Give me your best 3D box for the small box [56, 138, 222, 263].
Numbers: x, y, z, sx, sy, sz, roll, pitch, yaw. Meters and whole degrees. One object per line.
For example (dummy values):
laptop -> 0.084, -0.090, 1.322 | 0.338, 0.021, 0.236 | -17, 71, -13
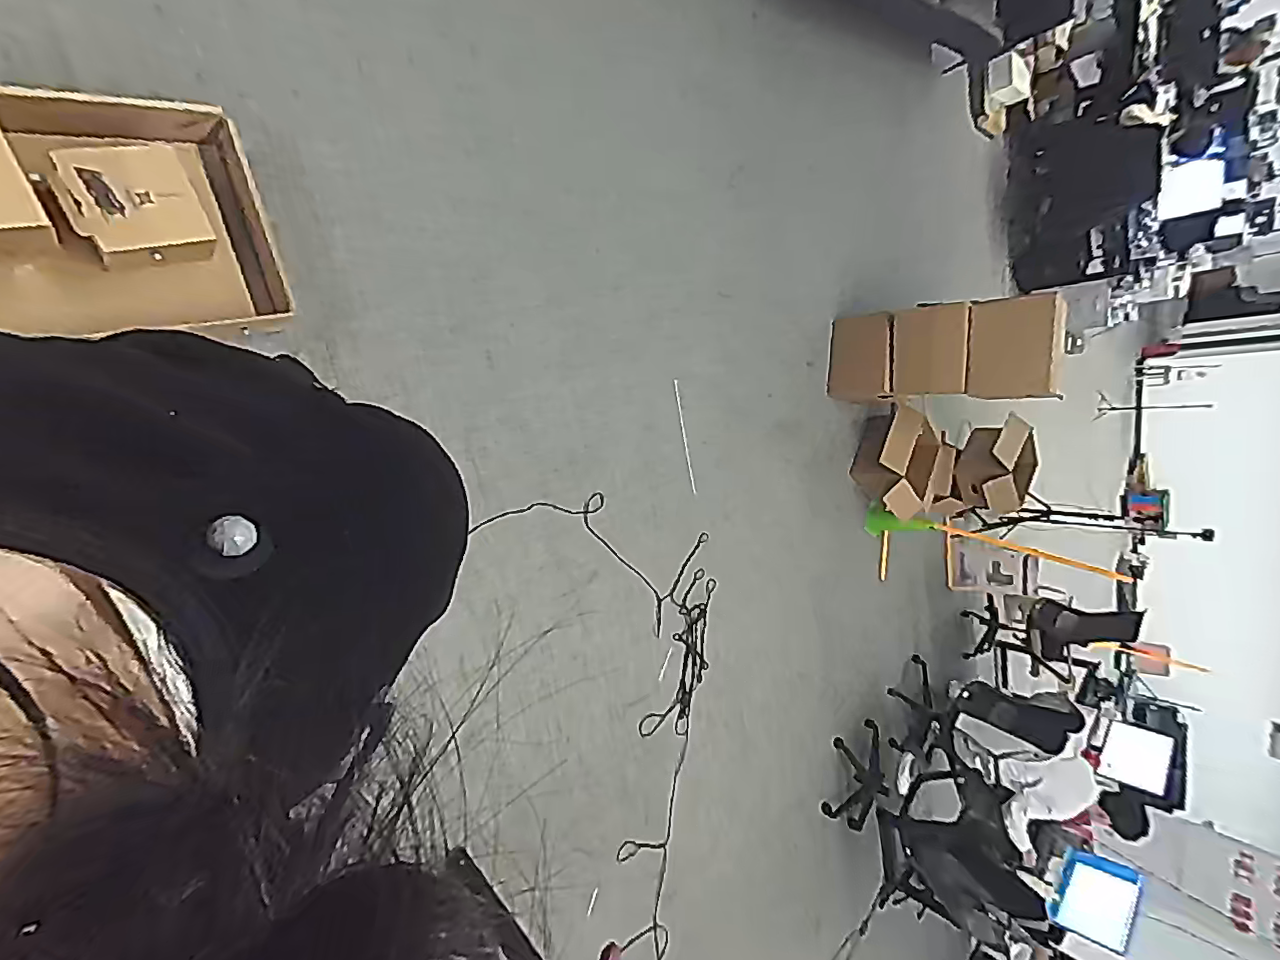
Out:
small box -> -0.935, -0.526, 1.027 | 0.179, 0.176, 0.168 | -29, 113, -35

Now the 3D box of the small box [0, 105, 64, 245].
small box -> -0.986, -0.442, 0.778 | 0.168, 0.176, 0.179 | -28, 113, -38
